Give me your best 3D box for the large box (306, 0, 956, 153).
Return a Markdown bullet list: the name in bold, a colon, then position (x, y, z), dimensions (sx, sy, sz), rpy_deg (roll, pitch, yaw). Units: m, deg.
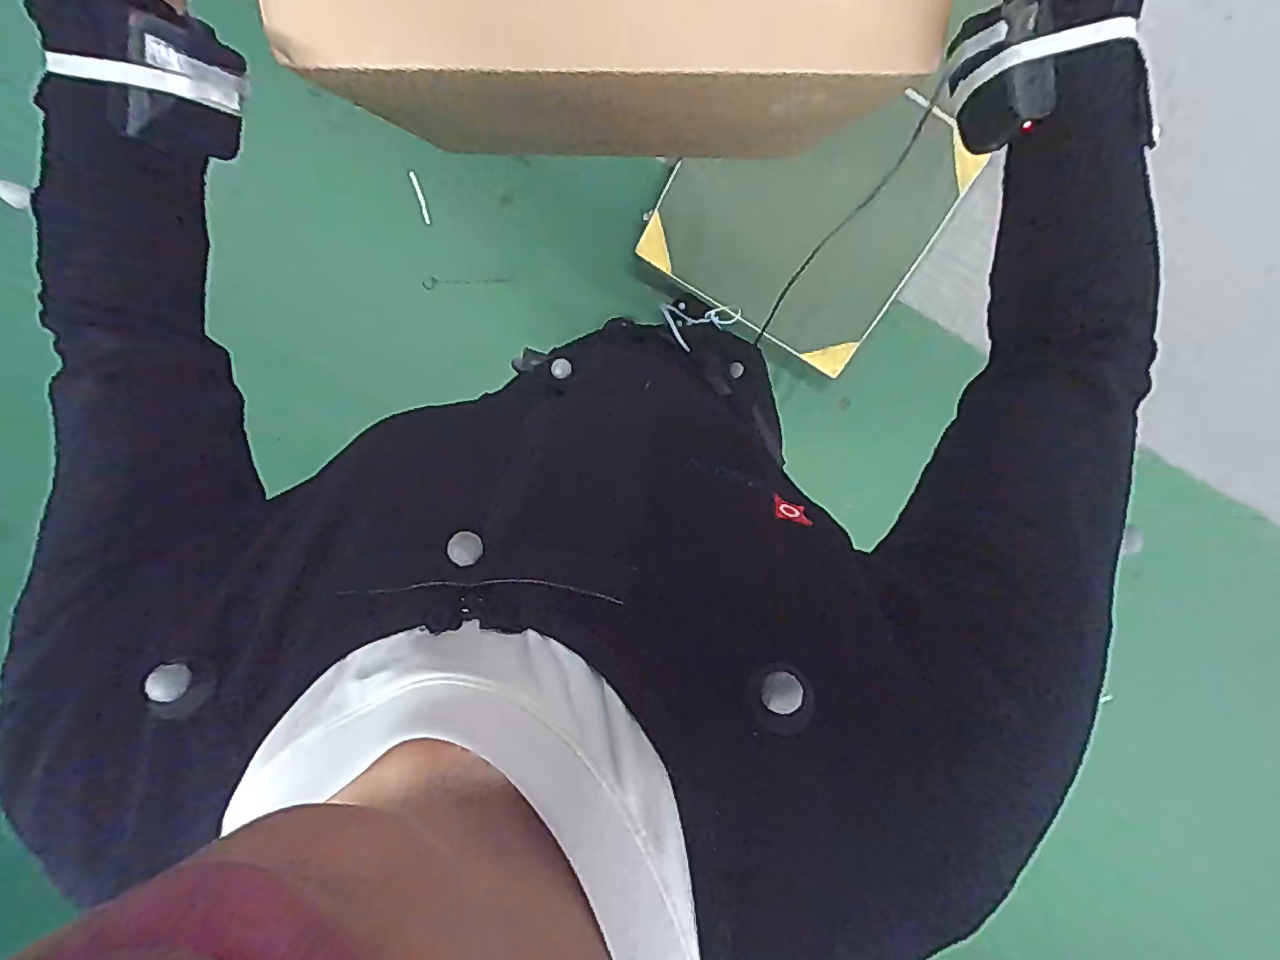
- **large box**: position (-0.008, -0.458, 0.420), dimensions (0.408, 0.320, 0.320), rpy_deg (0, 113, -2)
